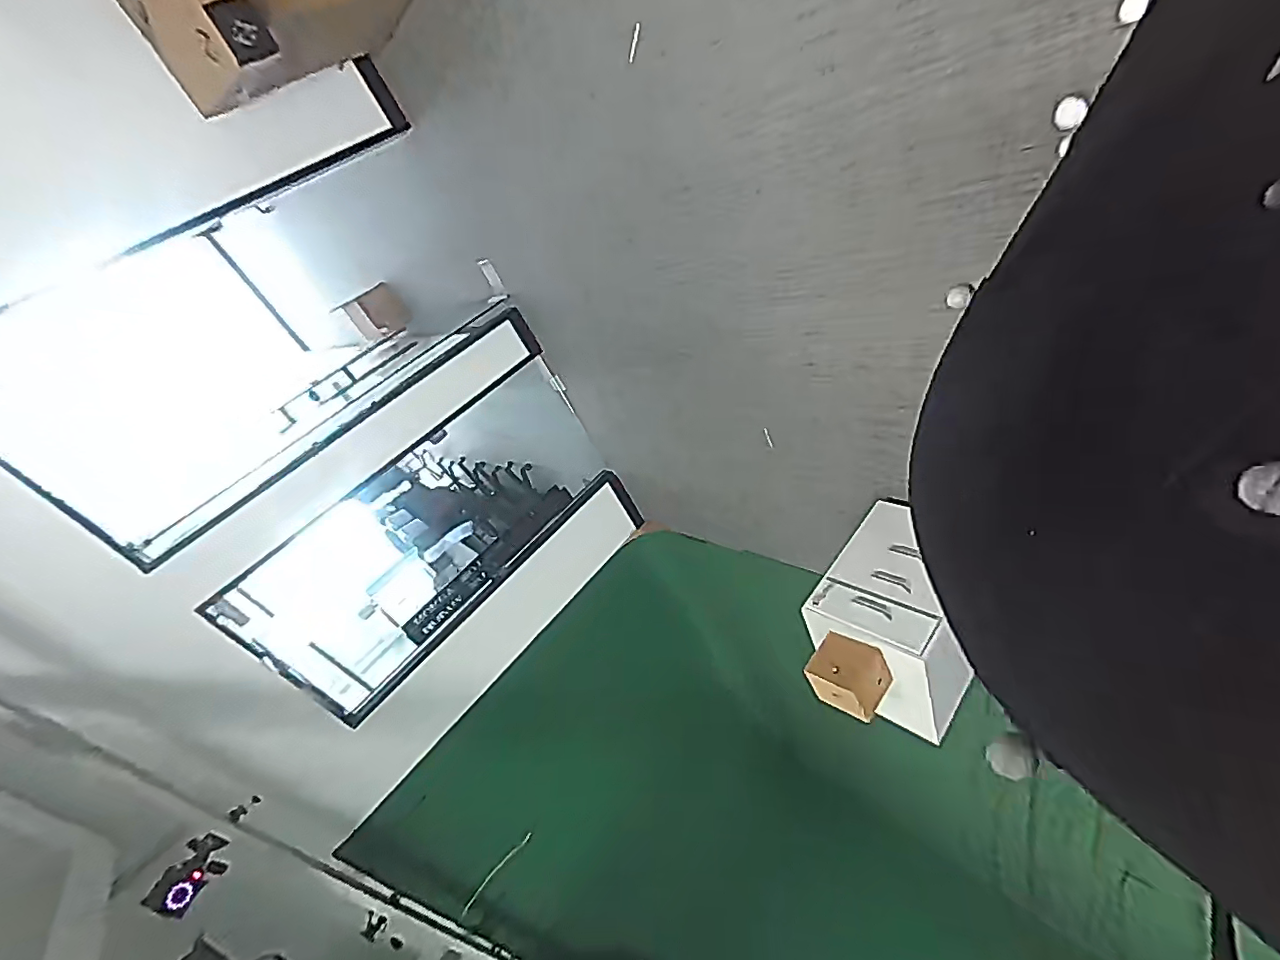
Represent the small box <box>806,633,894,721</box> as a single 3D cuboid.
[{"bbox_3d":[0.659,0.606,1.690,0.179,0.176,0.168,10,138,52],"label":"small box"}]
